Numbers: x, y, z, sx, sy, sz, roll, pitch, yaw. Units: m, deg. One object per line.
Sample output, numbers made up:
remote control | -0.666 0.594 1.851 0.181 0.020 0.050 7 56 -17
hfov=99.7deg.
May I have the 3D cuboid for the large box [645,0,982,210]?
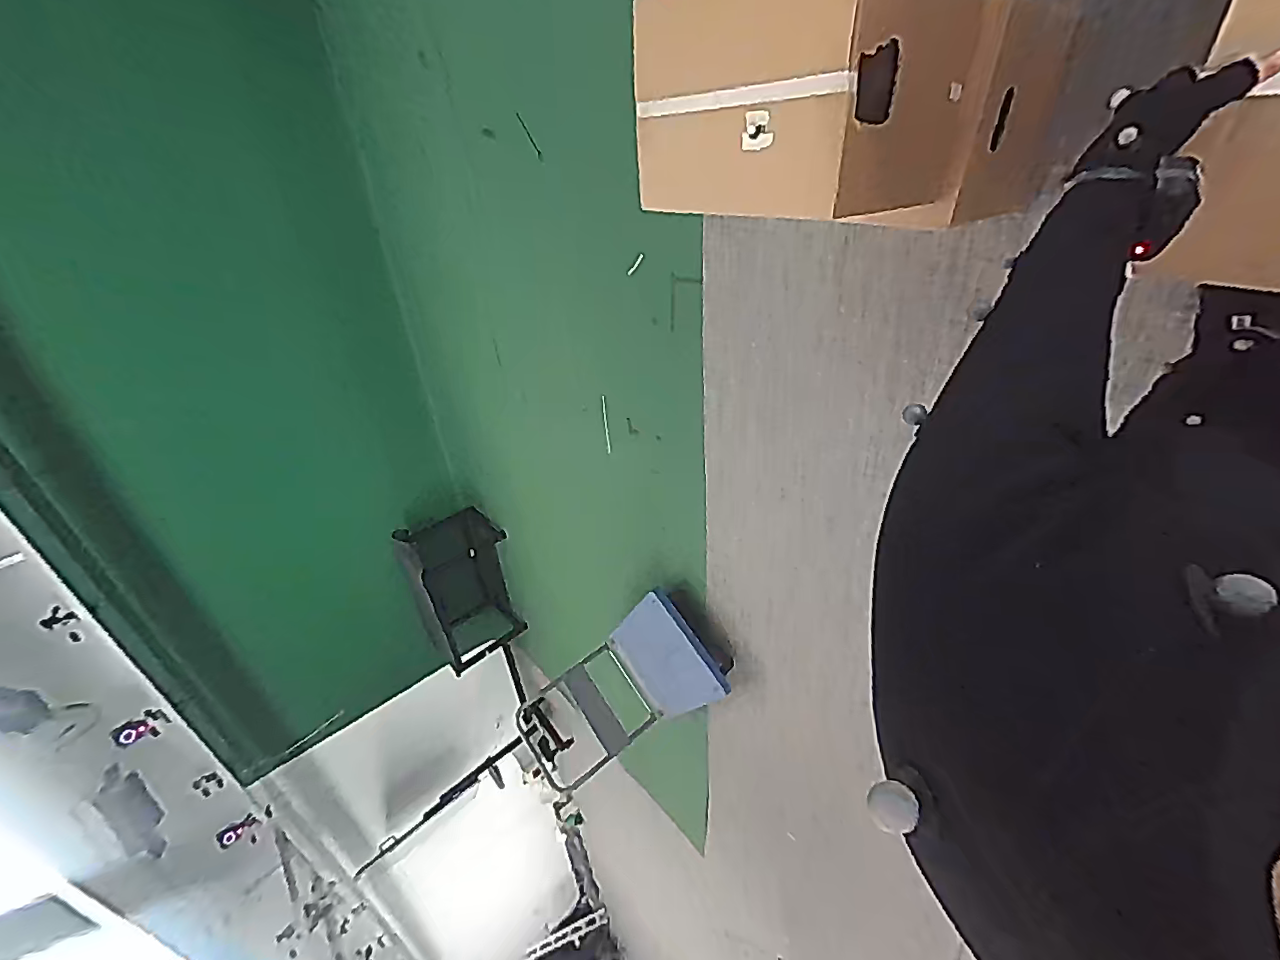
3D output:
large box | 0.253 -0.621 0.875 0.408 0.320 0.320 28 132 41
